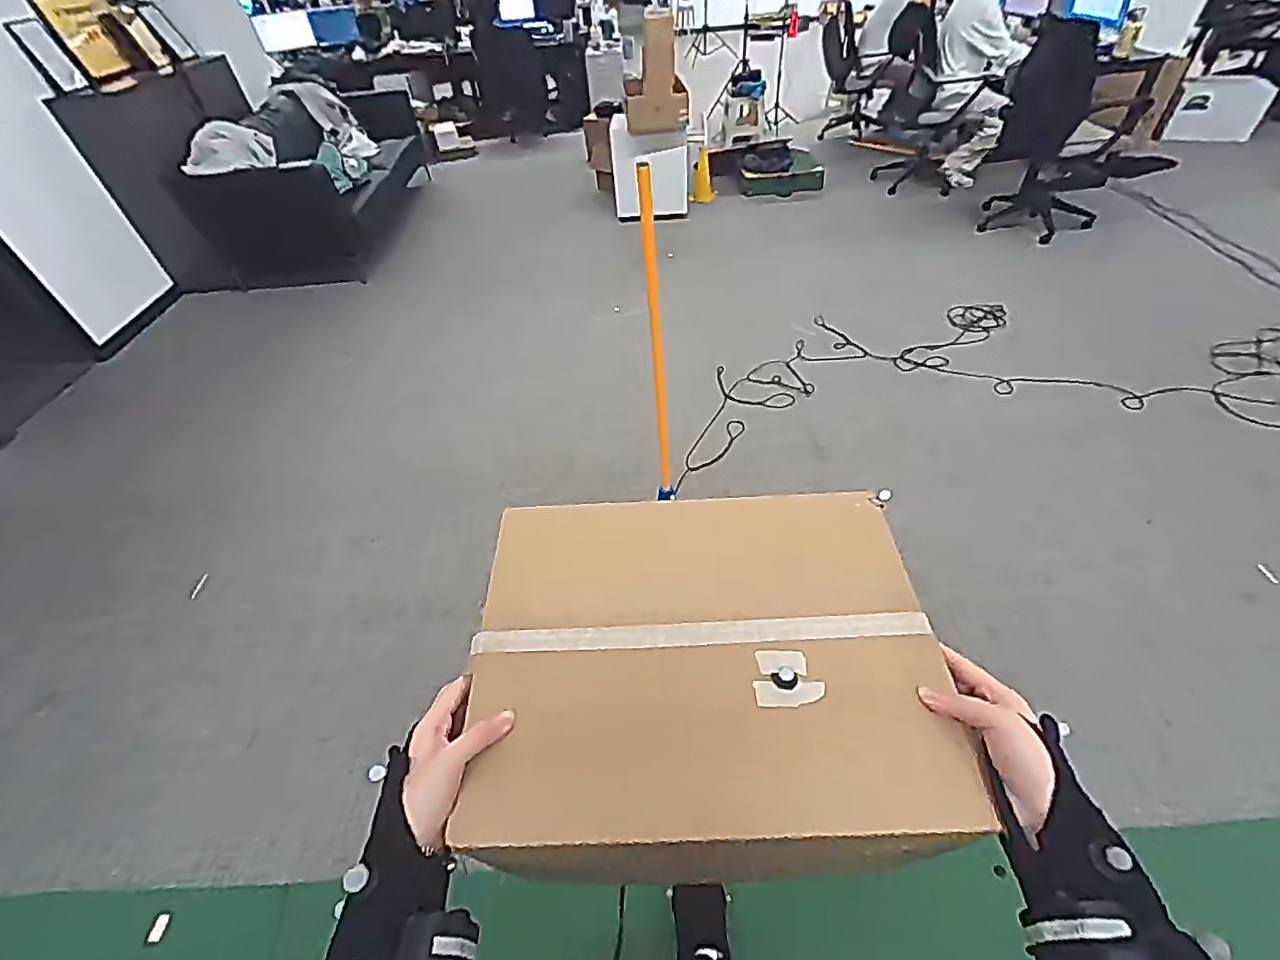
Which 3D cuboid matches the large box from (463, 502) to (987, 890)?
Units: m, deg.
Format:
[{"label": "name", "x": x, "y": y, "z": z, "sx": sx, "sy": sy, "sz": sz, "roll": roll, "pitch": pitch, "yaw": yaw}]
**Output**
[{"label": "large box", "x": 0.062, "y": 0.246, "z": 0.610, "sx": 0.408, "sy": 0.320, "sz": 0.320, "roll": -2, "pitch": 49, "yaw": 0}]
